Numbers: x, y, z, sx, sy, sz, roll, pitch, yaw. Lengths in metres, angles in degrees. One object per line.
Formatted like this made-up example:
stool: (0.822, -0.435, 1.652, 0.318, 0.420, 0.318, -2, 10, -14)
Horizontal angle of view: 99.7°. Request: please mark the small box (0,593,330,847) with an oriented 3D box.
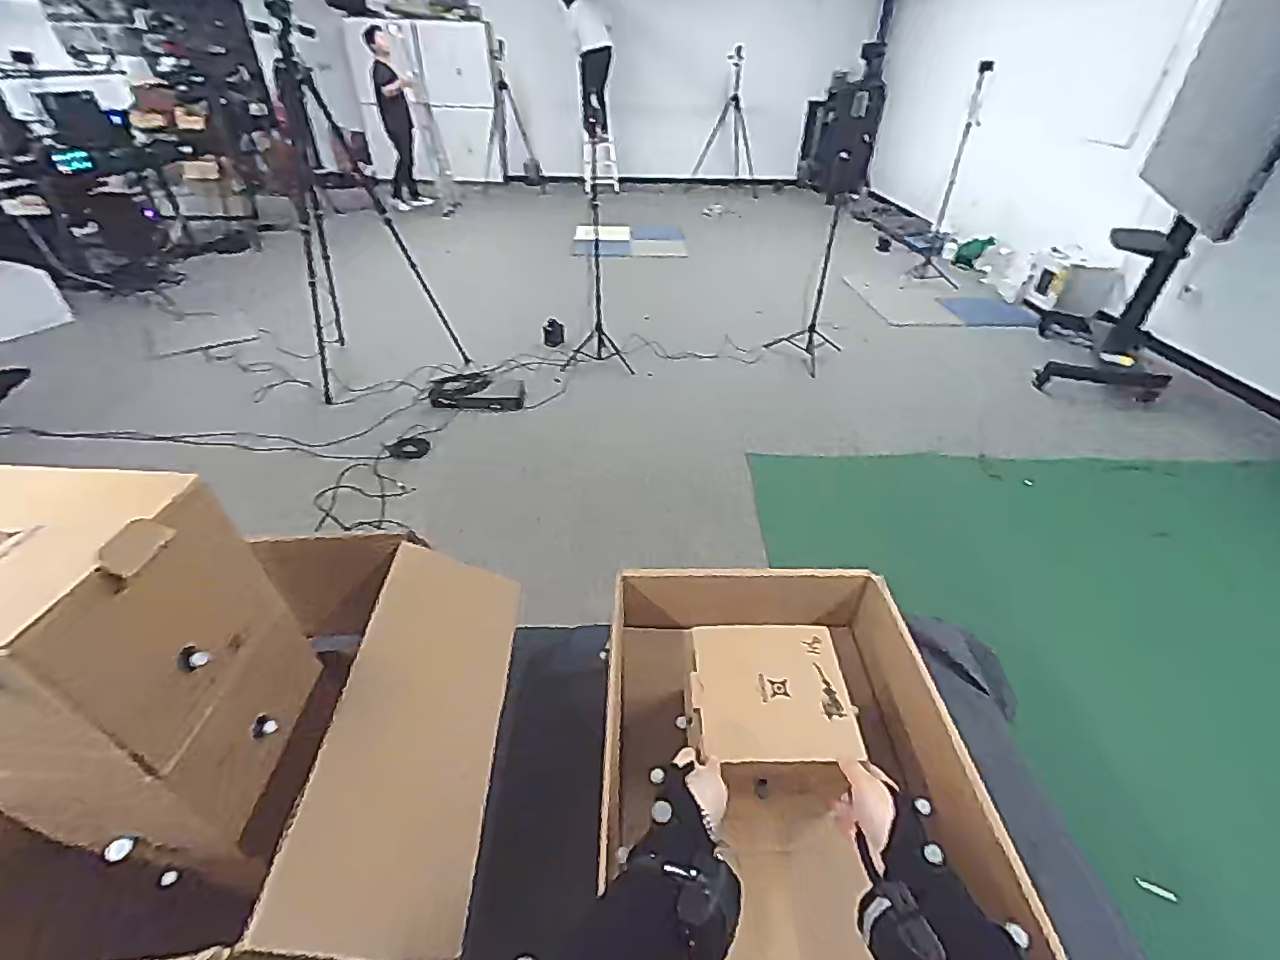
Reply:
small box: (-0.435, 0.227, 0.528, 0.168, 0.176, 0.179, 3, 40, 0)
